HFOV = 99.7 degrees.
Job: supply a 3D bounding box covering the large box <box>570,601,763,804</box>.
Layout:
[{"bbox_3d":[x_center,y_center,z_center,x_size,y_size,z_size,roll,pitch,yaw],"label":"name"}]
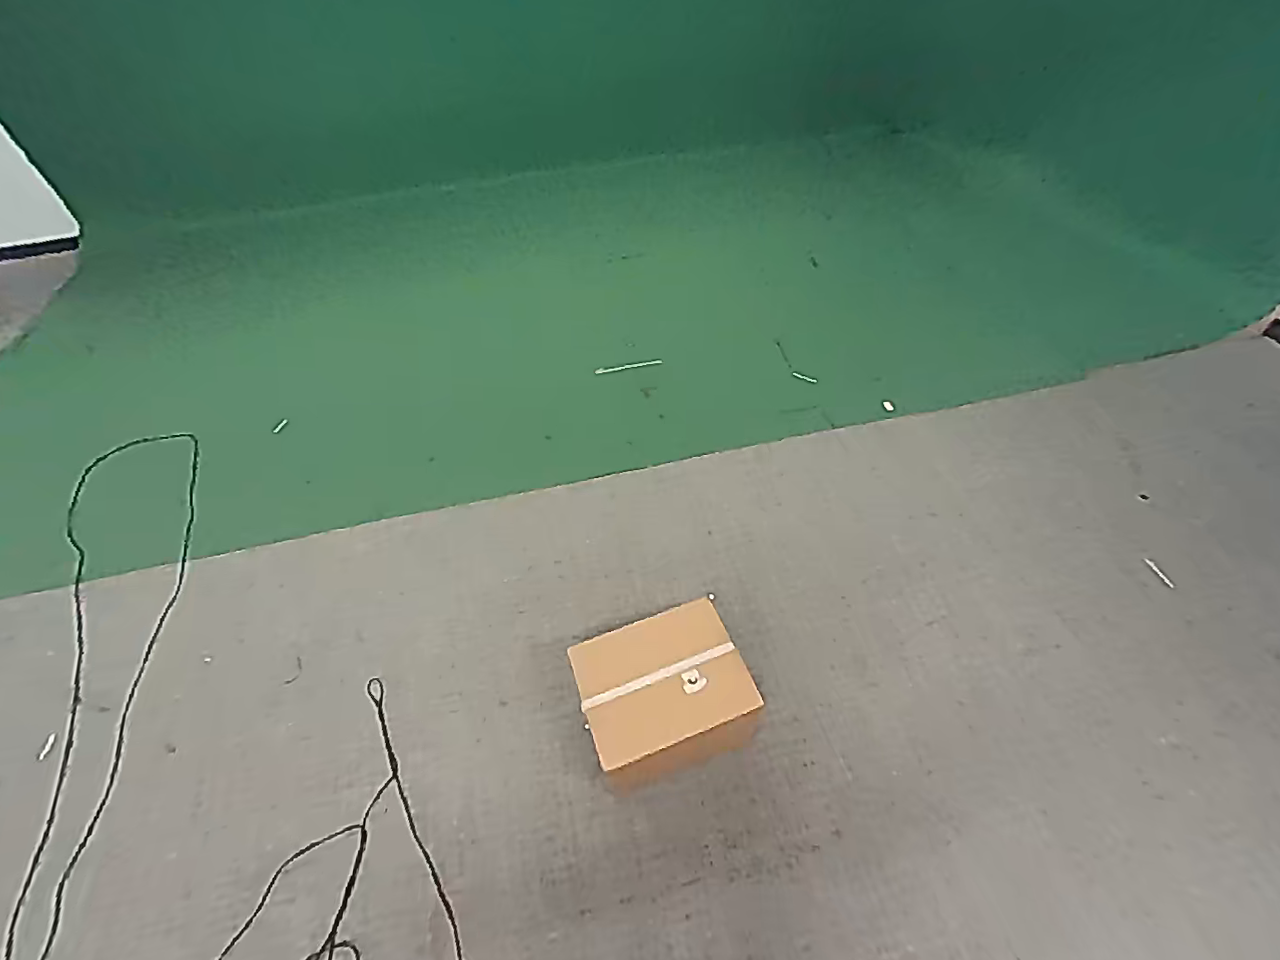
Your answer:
[{"bbox_3d":[0.064,0.592,1.443,0.408,0.320,0.320,-18,50,-11],"label":"large box"}]
